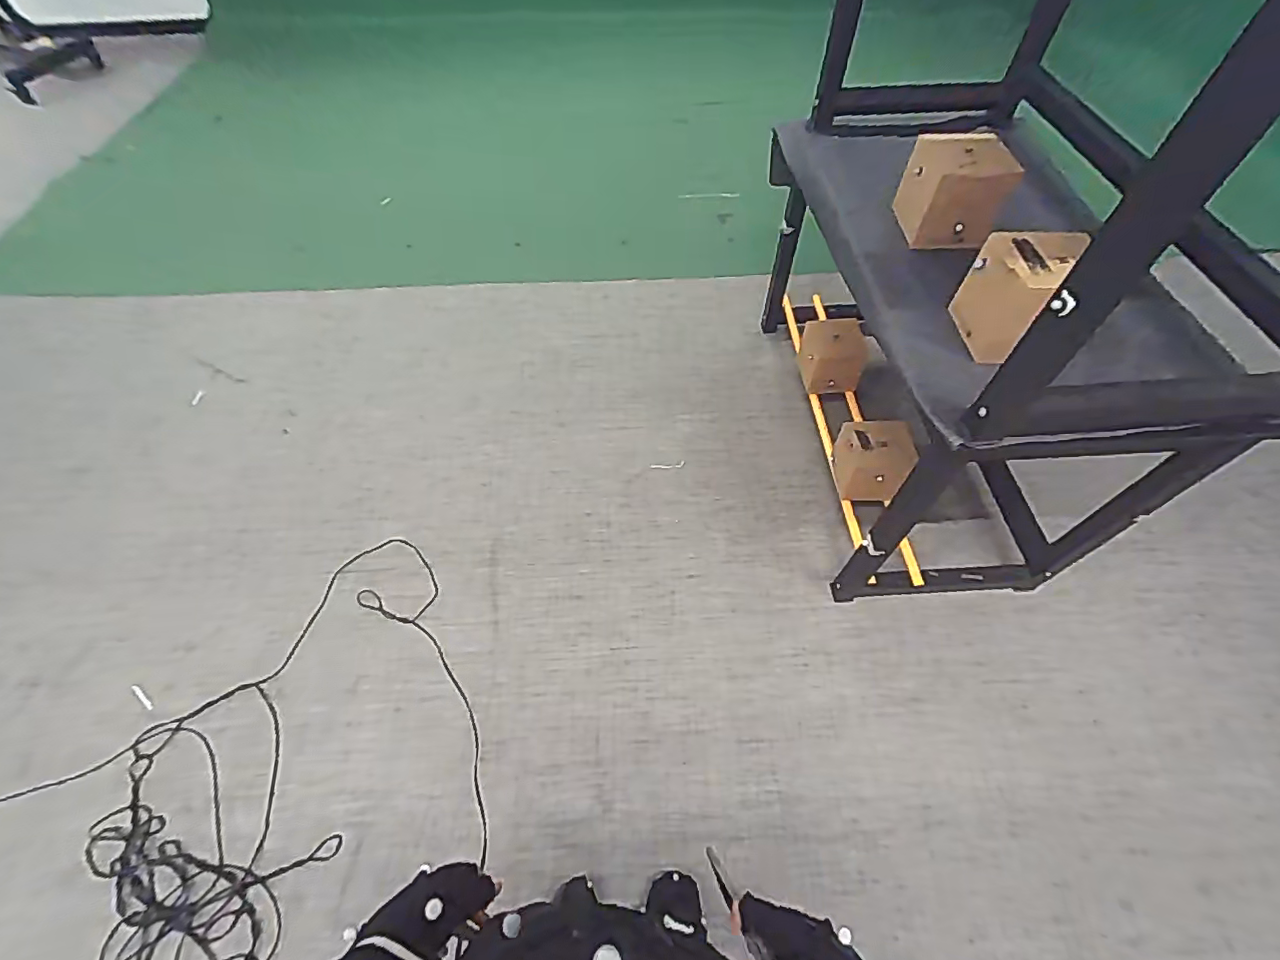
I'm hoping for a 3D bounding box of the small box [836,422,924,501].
[{"bbox_3d":[0.675,-0.051,1.551,0.179,0.176,0.168,0,56,1],"label":"small box"}]

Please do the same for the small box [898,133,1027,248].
[{"bbox_3d":[0.699,-0.640,1.199,0.168,0.176,0.179,0,56,1],"label":"small box"}]
